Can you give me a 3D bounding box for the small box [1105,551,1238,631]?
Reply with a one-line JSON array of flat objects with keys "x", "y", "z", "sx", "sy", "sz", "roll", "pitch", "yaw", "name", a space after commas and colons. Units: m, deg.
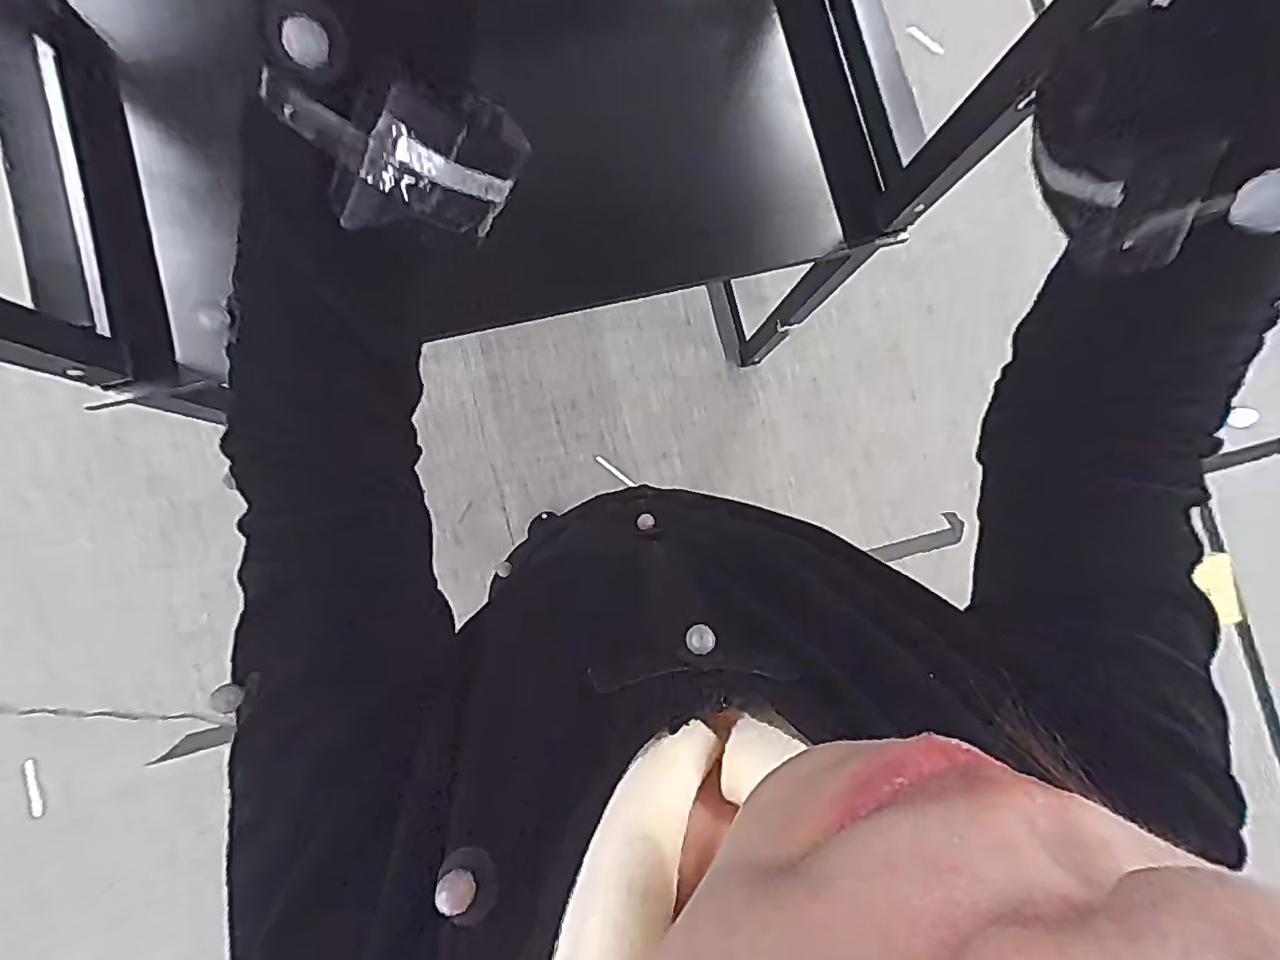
[{"x": 1.331, "y": 0.275, "z": 1.371, "sx": 0.179, "sy": 0.176, "sz": 0.168, "roll": -8, "pitch": 87, "yaw": -7, "name": "small box"}]
